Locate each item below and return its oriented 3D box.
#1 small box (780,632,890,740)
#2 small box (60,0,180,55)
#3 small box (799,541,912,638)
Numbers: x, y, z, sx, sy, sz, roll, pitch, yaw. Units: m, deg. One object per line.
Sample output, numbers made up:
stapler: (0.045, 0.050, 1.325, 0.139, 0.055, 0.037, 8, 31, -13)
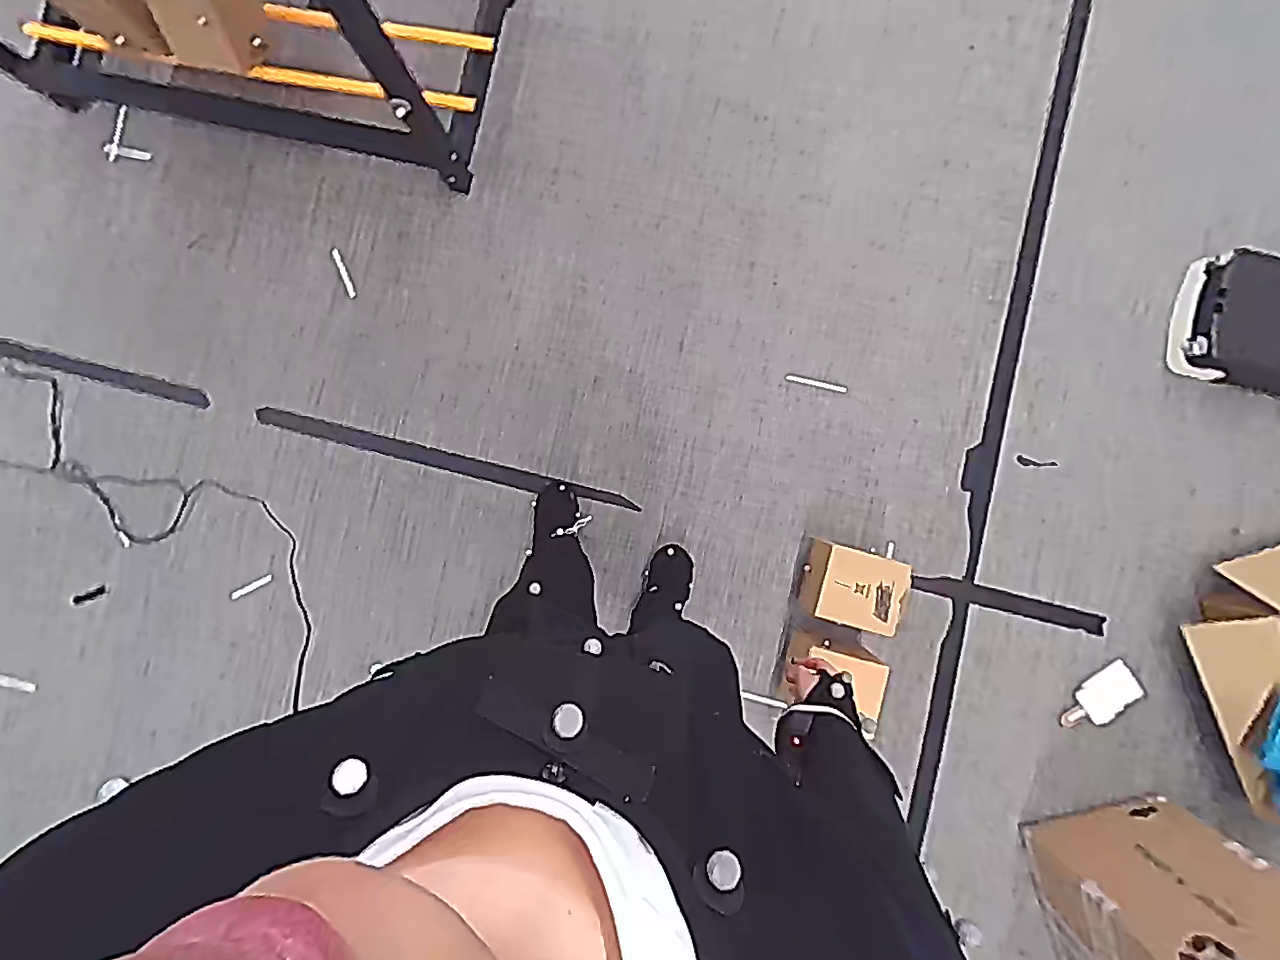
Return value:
small box: (0.443, 0.466, 1.254, 0.179, 0.176, 0.168, 14, 90, 4)
small box: (-1.236, -1.158, 1.269, 0.168, 0.176, 0.179, 10, 90, 3)
small box: (0.490, 0.244, 1.254, 0.179, 0.176, 0.168, 16, 89, 4)
